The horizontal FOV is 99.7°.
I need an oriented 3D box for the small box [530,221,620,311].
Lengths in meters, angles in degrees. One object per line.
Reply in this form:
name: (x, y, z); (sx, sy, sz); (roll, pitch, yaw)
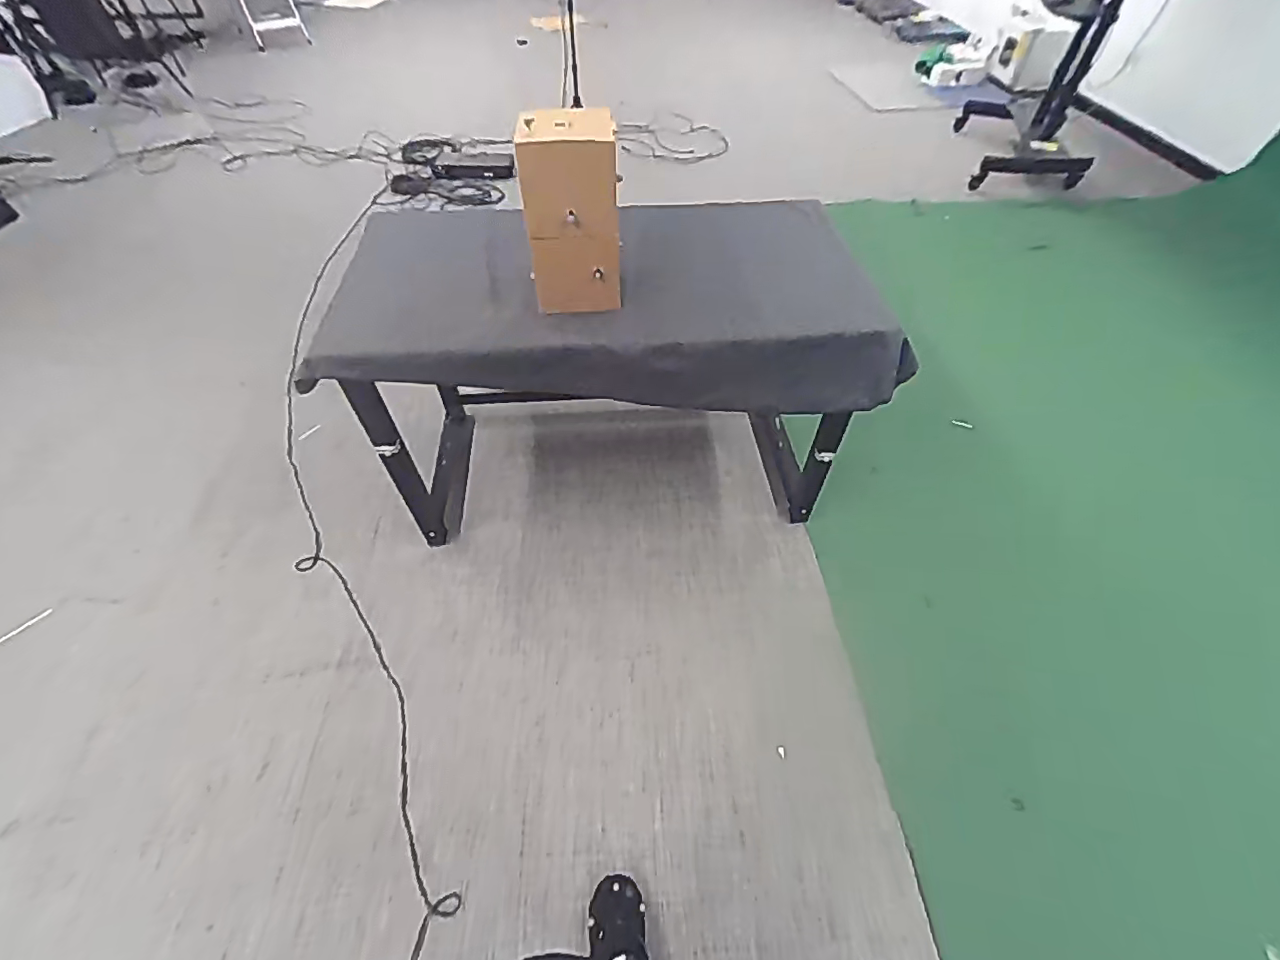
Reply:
small box: (-0.133, -0.479, 1.155); (0.179, 0.176, 0.168); (-5, 50, -3)

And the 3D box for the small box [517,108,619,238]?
small box: (-0.132, -0.582, 1.031); (0.179, 0.176, 0.168); (-5, 52, -4)
